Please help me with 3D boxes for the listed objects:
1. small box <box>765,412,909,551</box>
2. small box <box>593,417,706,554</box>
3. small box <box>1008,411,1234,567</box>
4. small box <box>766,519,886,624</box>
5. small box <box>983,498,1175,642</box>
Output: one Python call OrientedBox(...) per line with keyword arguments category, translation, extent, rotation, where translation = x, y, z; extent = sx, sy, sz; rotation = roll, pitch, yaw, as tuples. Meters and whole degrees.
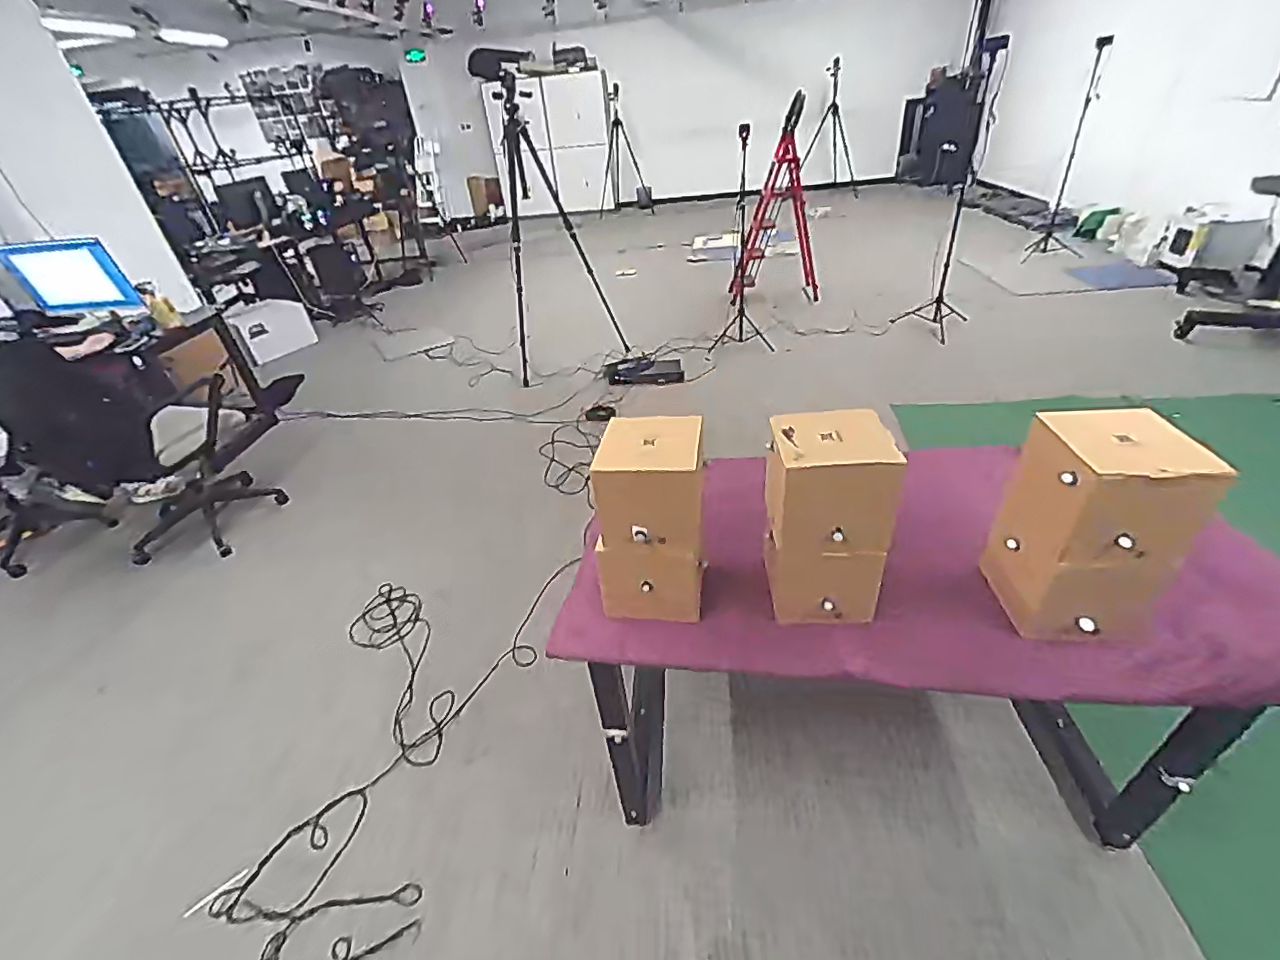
OrientedBox(category="small box", translation=(0.307, 0.003, 0.884), extent=(0.179, 0.176, 0.168), rotation=(-2, 34, 5))
OrientedBox(category="small box", translation=(0.026, 0.006, 0.926), extent=(0.168, 0.176, 0.179), rotation=(-1, 35, 10))
OrientedBox(category="small box", translation=(0.699, 0.011, 0.818), extent=(0.168, 0.176, 0.179), rotation=(-2, 35, 7))
OrientedBox(category="small box", translation=(0.324, 0.137, 0.979), extent=(0.168, 0.176, 0.179), rotation=(-2, 35, 6))
OrientedBox(category="small box", translation=(0.712, 0.146, 0.907), extent=(0.168, 0.176, 0.179), rotation=(-2, 36, 7))
